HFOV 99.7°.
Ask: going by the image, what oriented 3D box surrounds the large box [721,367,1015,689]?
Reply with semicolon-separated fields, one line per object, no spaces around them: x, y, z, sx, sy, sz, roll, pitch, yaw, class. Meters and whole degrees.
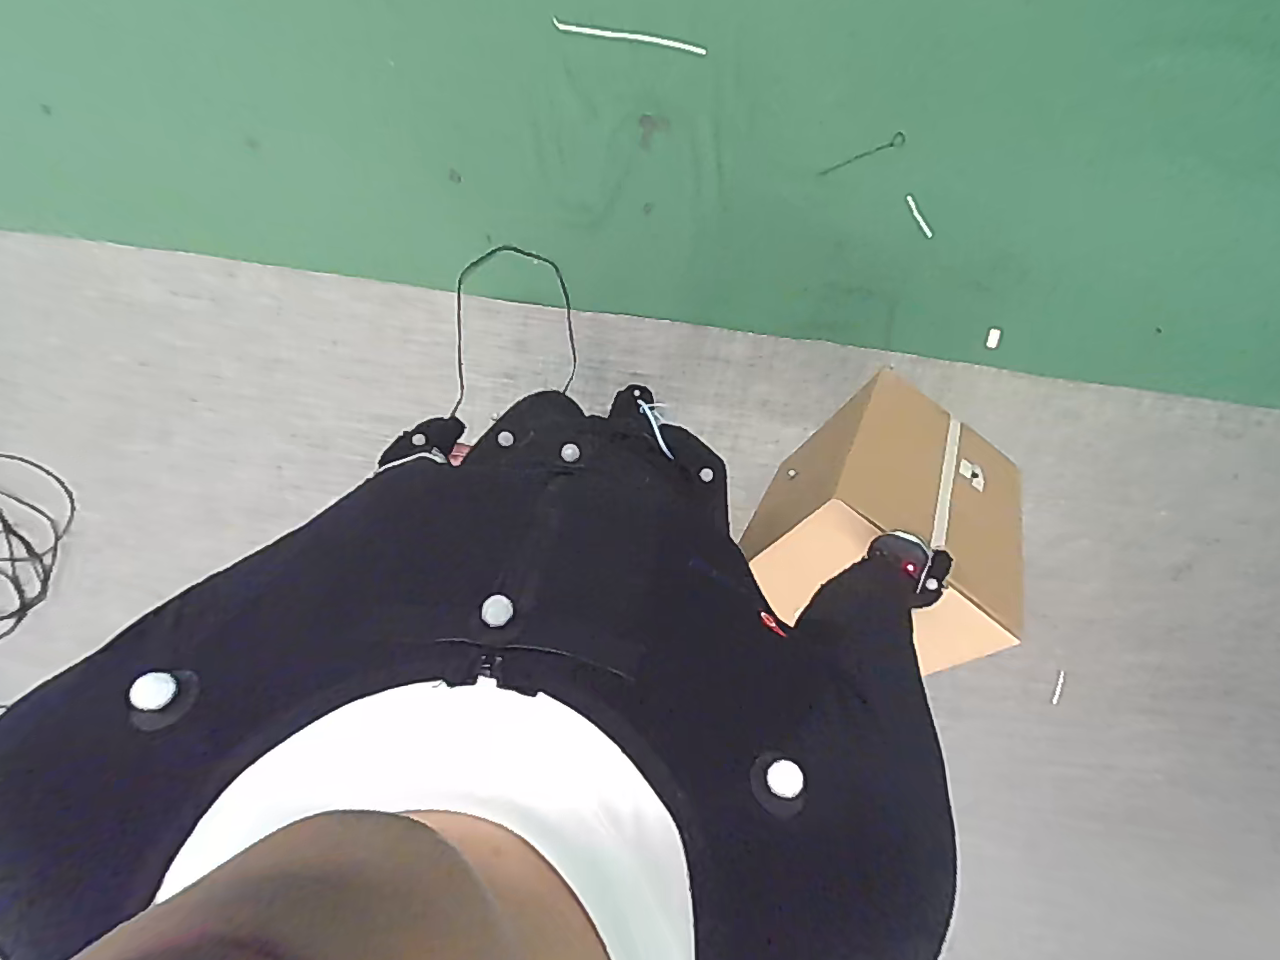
0.402;0.080;0.955;0.320;0.408;0.320;39;137;0;large box
